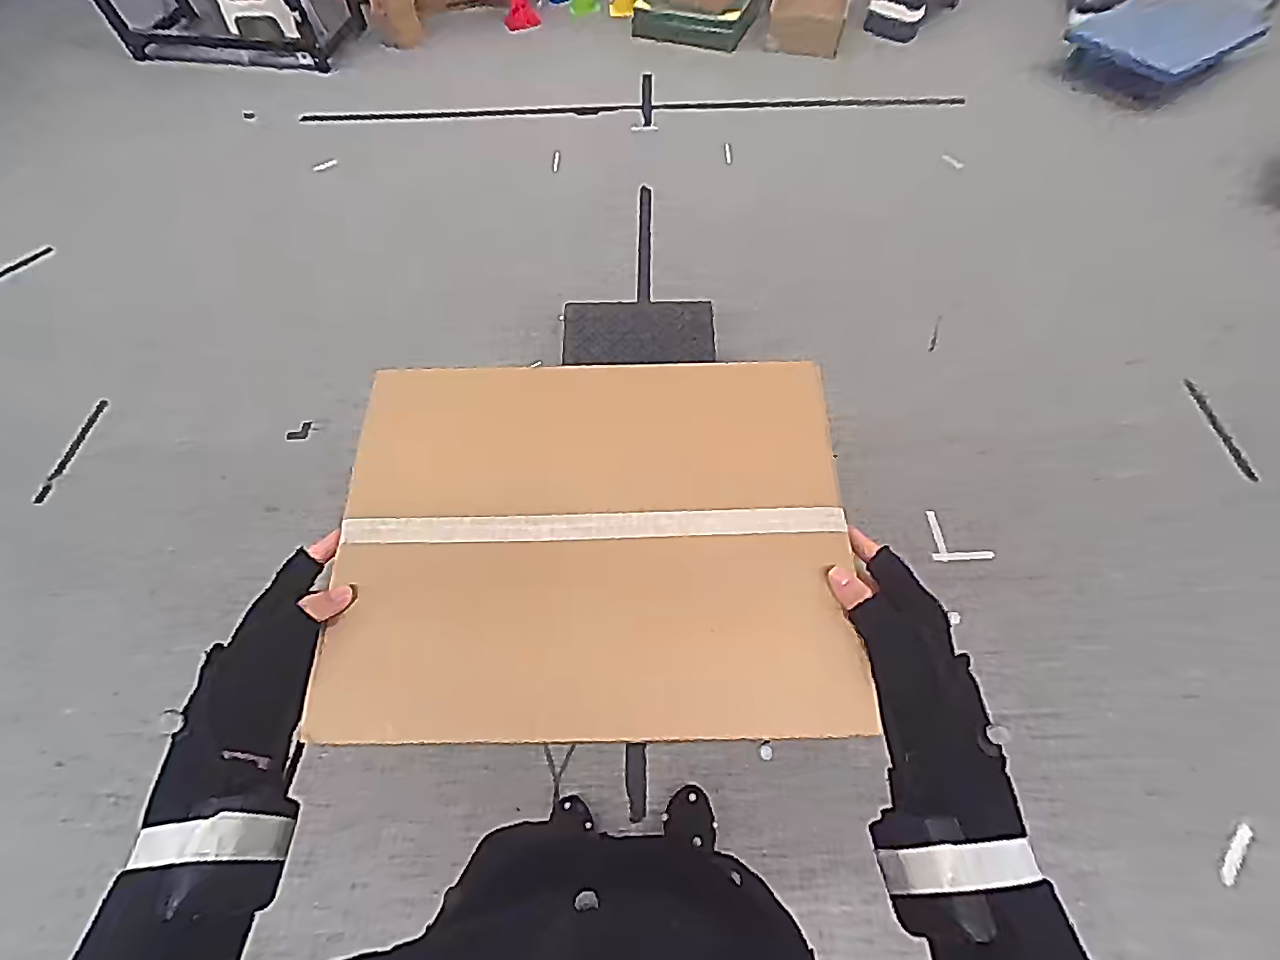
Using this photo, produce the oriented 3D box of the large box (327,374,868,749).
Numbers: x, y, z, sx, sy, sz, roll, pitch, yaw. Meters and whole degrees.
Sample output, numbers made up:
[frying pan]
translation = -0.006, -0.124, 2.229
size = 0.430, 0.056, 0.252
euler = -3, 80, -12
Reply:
[large box]
translation = -0.031, 0.105, 0.586
size = 0.408, 0.320, 0.320
euler = -1, 66, 1
